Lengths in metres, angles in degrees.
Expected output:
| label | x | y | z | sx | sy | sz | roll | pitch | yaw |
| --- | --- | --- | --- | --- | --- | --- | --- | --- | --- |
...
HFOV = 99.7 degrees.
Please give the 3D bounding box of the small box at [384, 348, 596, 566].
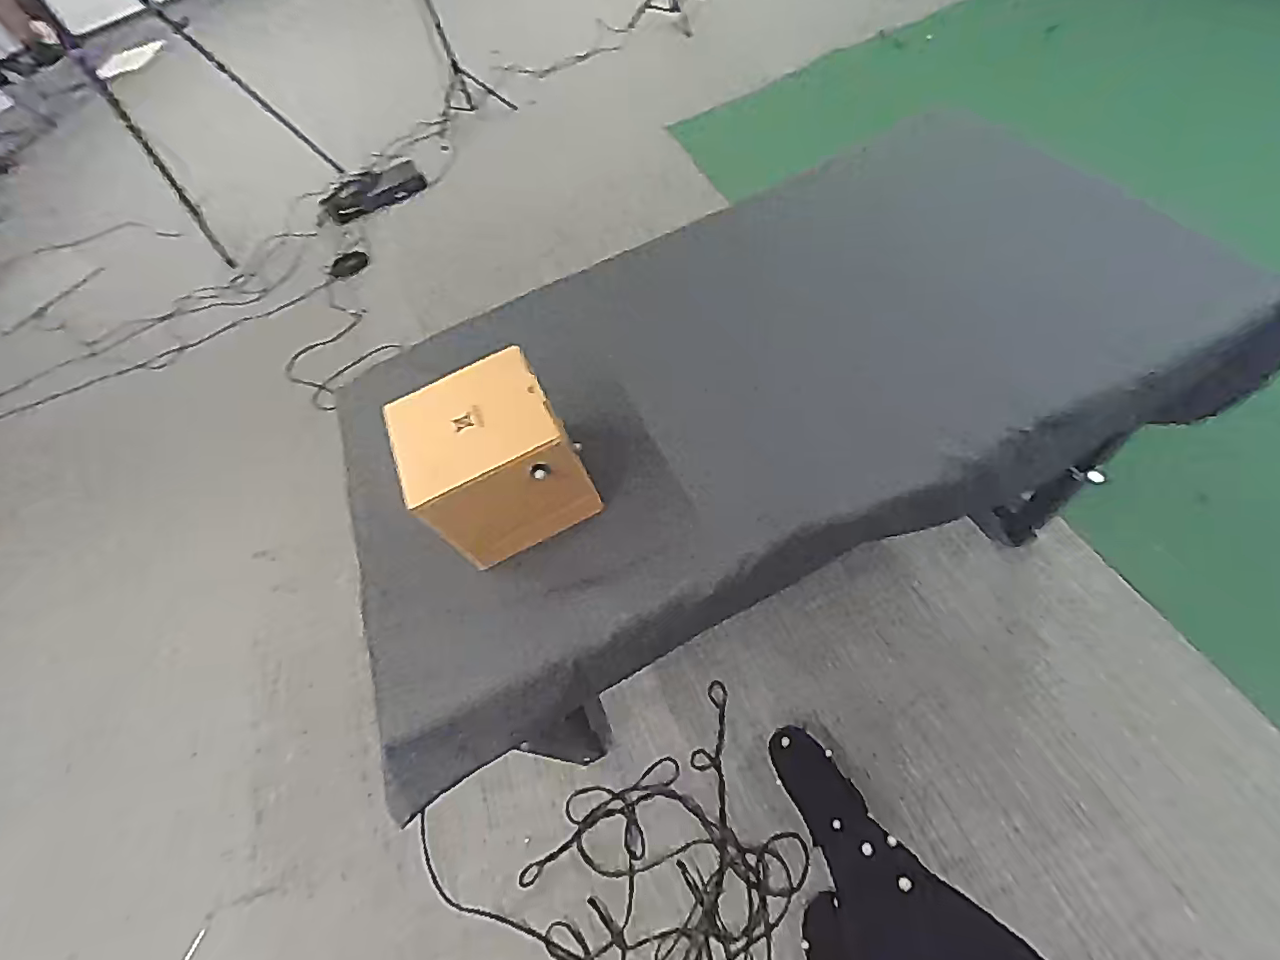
| label | x | y | z | sx | sy | sz | roll | pitch | yaw |
| --- | --- | --- | --- | --- | --- | --- | --- | --- | --- |
| small box | -0.177 | -0.021 | 0.665 | 0.179 | 0.176 | 0.168 | -27 | 56 | -5 |
